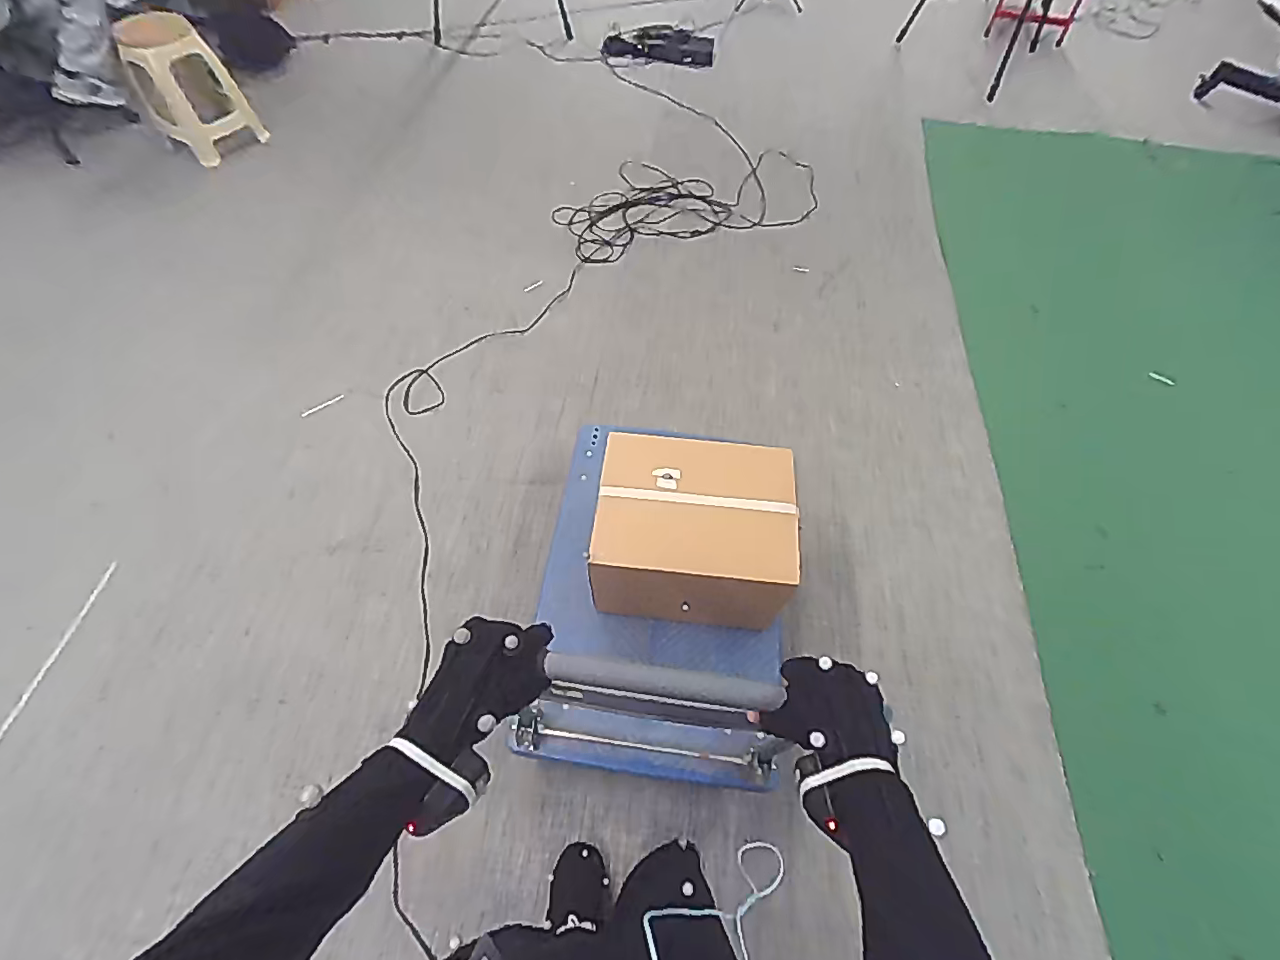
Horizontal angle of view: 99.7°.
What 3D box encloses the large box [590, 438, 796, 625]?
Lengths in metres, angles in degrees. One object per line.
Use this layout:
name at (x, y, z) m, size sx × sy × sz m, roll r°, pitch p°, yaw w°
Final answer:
large box at (0.116, 0.127, 1.240) m, size 0.408 × 0.320 × 0.320 m, roll 5°, pitch 58°, yaw 4°
